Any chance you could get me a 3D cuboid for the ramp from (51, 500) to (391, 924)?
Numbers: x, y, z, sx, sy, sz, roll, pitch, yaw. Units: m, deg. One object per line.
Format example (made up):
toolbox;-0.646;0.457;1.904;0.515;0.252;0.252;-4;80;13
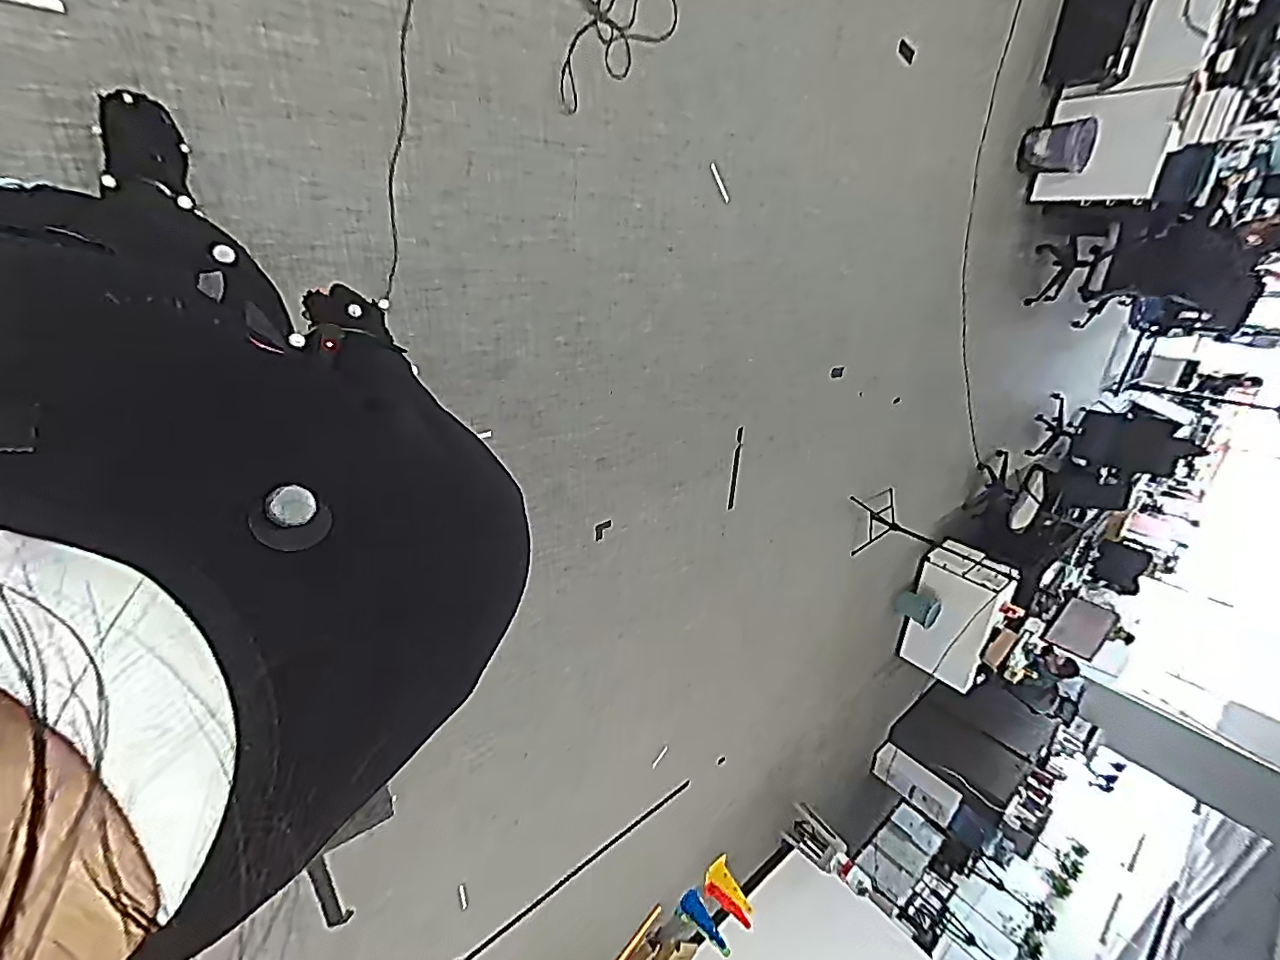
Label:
ramp;-0.972;0.576;1.355;0.509;0.206;0.991;-16;120;-35
